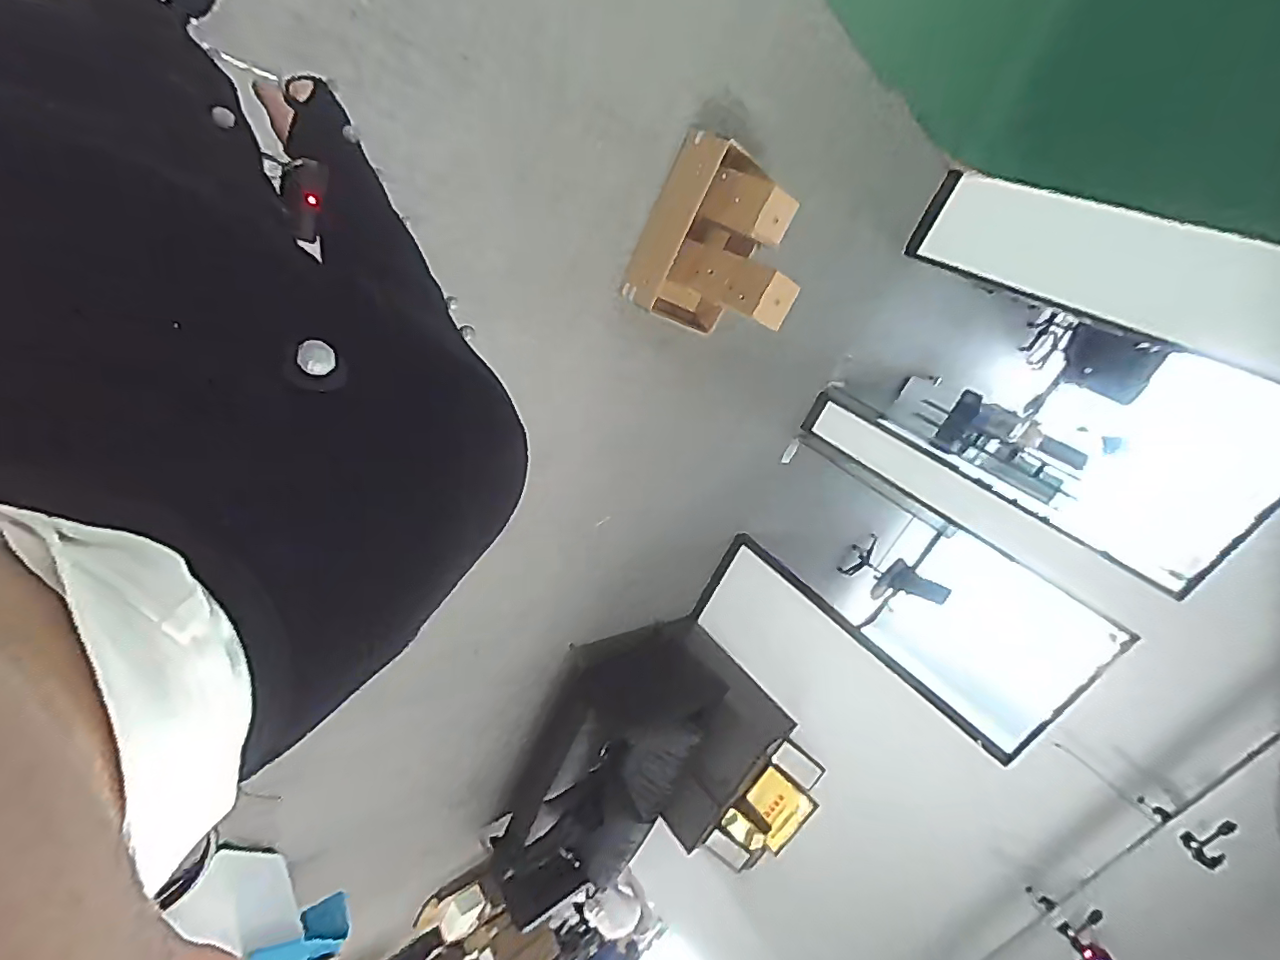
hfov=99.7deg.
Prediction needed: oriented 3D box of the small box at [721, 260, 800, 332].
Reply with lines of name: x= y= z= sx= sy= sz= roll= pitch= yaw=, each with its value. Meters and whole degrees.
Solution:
small box: x=0.409 y=-0.635 z=1.856 sx=0.179 sy=0.176 sz=0.168 roll=6 pitch=117 yaw=-49

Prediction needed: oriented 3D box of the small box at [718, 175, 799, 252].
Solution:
small box: x=0.404 y=-0.916 z=1.855 sx=0.179 sy=0.176 sz=0.168 roll=1 pitch=124 yaw=-48
